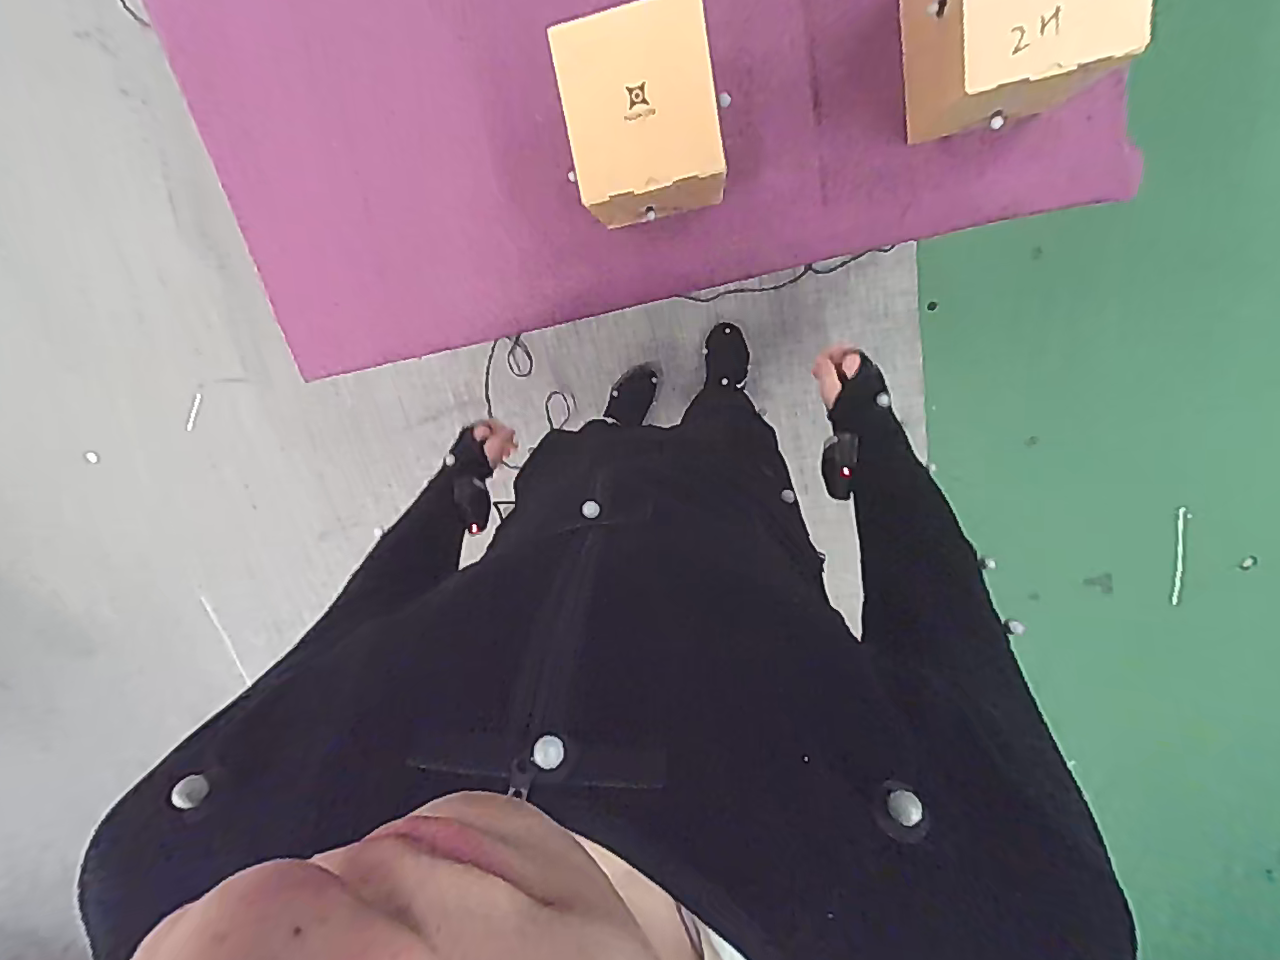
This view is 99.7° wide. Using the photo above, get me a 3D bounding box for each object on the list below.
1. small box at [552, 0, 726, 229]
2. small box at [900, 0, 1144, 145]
[{"bbox_3d":[0.007,-0.427,0.660,0.168,0.176,0.179,-9,106,9],"label":"small box"},{"bbox_3d":[0.397,-0.502,0.590,0.168,0.176,0.179,-8,106,10],"label":"small box"}]
